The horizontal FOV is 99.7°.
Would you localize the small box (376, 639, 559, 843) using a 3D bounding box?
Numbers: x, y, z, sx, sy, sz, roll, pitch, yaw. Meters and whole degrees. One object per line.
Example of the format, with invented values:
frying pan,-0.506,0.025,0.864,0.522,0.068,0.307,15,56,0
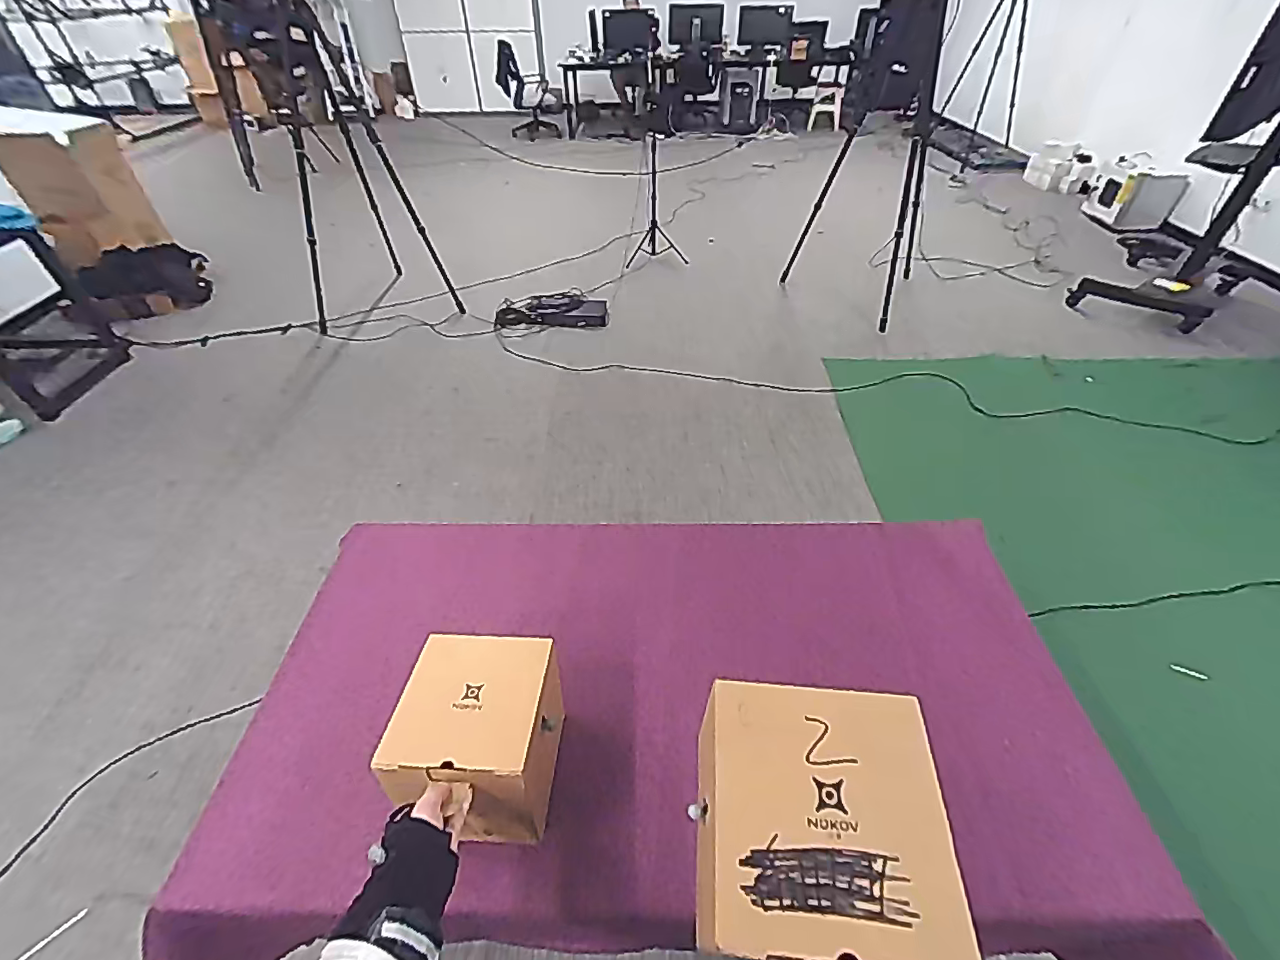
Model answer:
small box,-0.202,0.330,0.695,0.168,0.176,0.179,1,36,3
